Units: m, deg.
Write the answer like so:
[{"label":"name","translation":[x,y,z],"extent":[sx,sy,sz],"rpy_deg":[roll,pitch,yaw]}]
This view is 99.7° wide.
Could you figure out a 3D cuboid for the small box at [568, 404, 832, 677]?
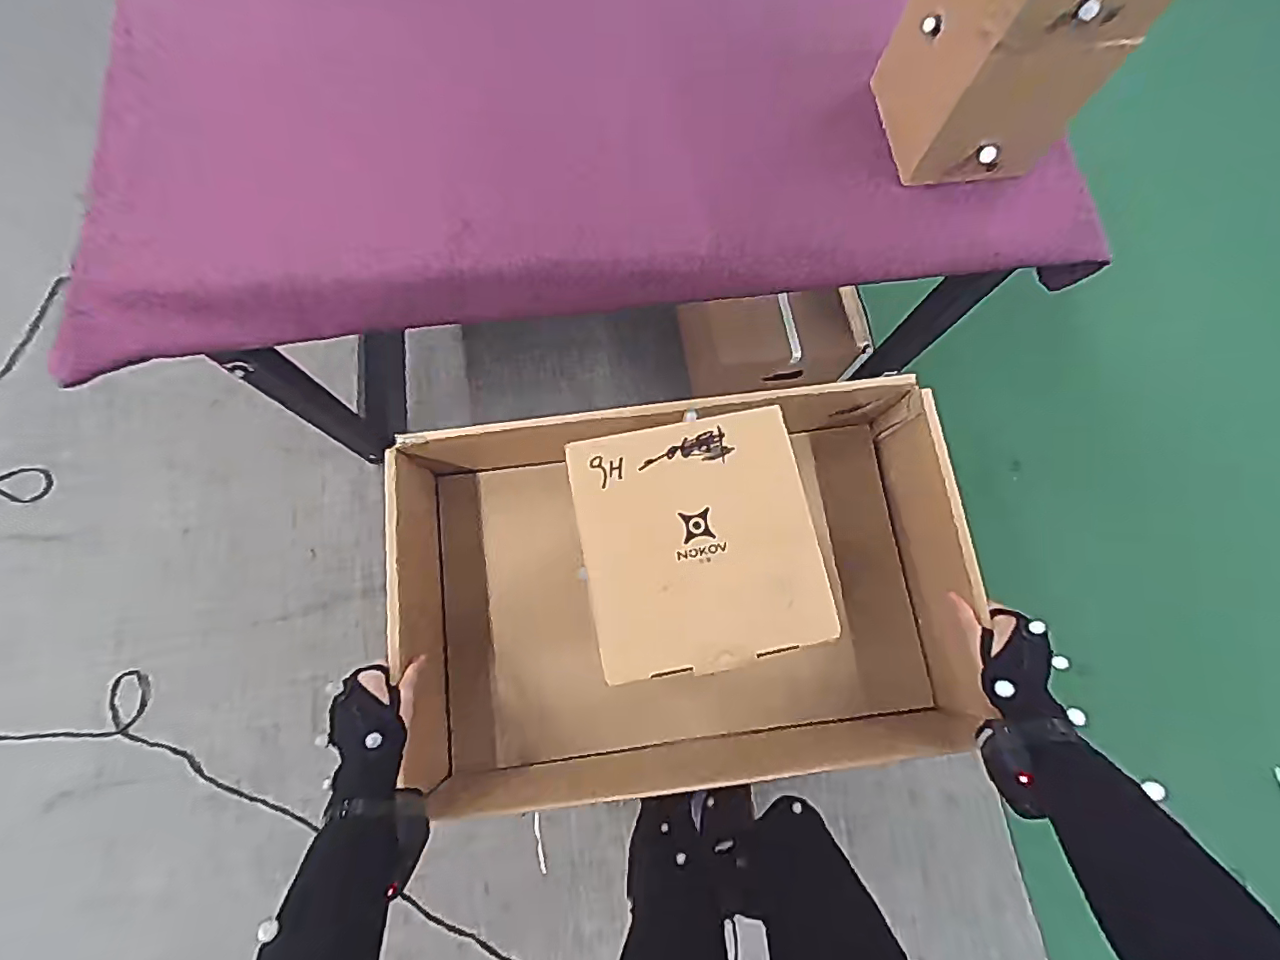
[{"label":"small box","translation":[0.040,0.055,0.466],"extent":[0.168,0.176,0.179],"rpy_deg":[-10,77,-3]}]

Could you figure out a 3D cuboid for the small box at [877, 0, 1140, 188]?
[{"label":"small box","translation":[0.405,-0.479,0.632],"extent":[0.168,0.176,0.179],"rpy_deg":[-7,75,-4]}]

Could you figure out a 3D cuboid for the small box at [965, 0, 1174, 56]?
[{"label":"small box","translation":[0.405,-0.524,0.476],"extent":[0.168,0.176,0.179],"rpy_deg":[-9,74,-4]}]
